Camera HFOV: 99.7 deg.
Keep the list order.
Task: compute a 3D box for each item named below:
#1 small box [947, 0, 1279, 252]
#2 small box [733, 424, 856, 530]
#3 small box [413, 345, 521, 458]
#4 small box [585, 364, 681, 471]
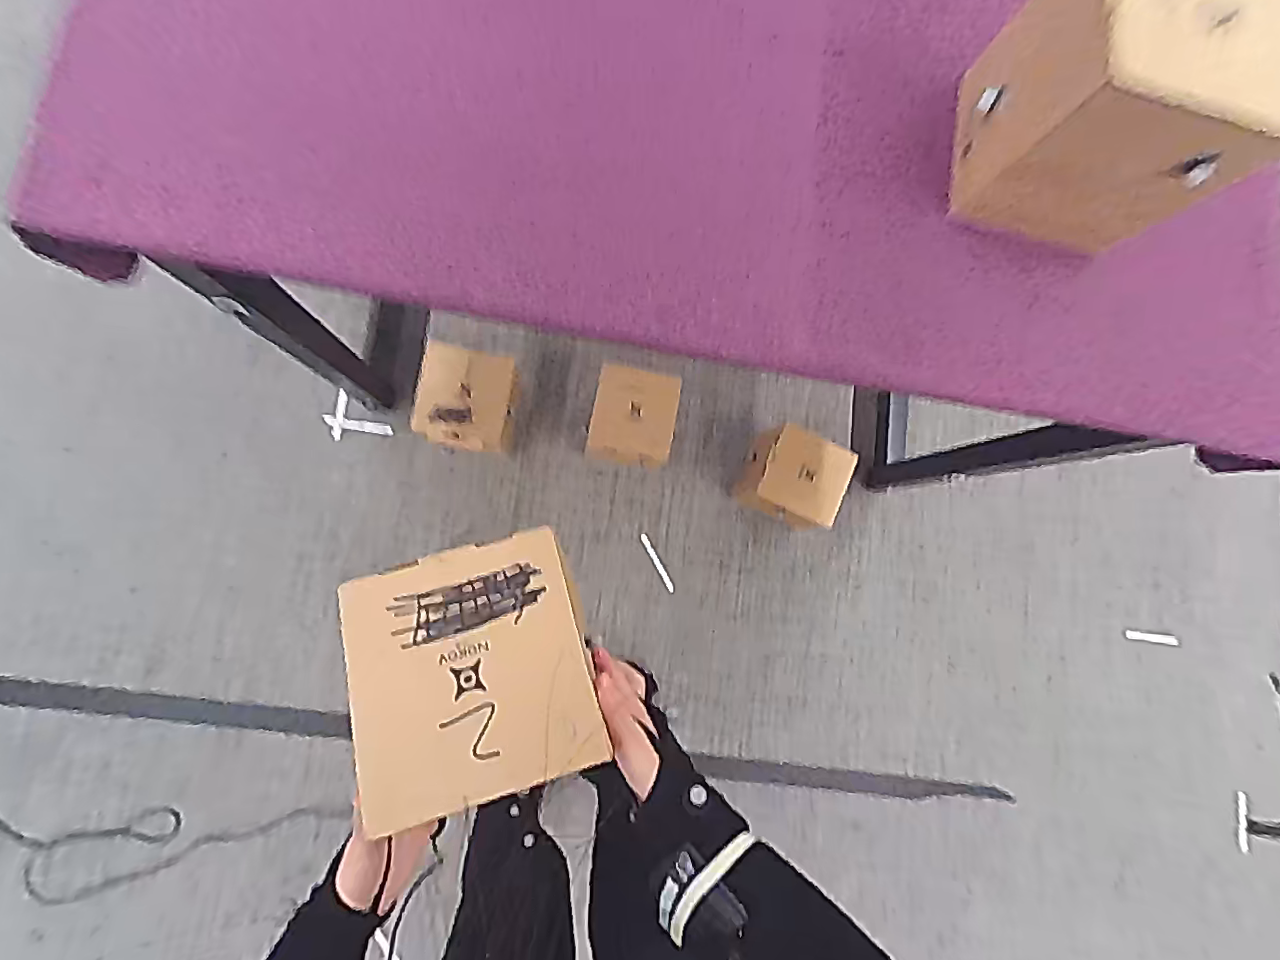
[{"bbox_3d":[0.422,-0.337,0.494,0.179,0.176,0.168,11,81,-6],"label":"small box"},{"bbox_3d":[0.330,-0.001,1.185,0.179,0.176,0.168,26,81,-3],"label":"small box"},{"bbox_3d":[-0.341,-0.150,1.102,0.168,0.176,0.179,10,81,-7],"label":"small box"},{"bbox_3d":[-0.021,-0.122,1.148,0.168,0.176,0.179,11,81,-8],"label":"small box"}]
